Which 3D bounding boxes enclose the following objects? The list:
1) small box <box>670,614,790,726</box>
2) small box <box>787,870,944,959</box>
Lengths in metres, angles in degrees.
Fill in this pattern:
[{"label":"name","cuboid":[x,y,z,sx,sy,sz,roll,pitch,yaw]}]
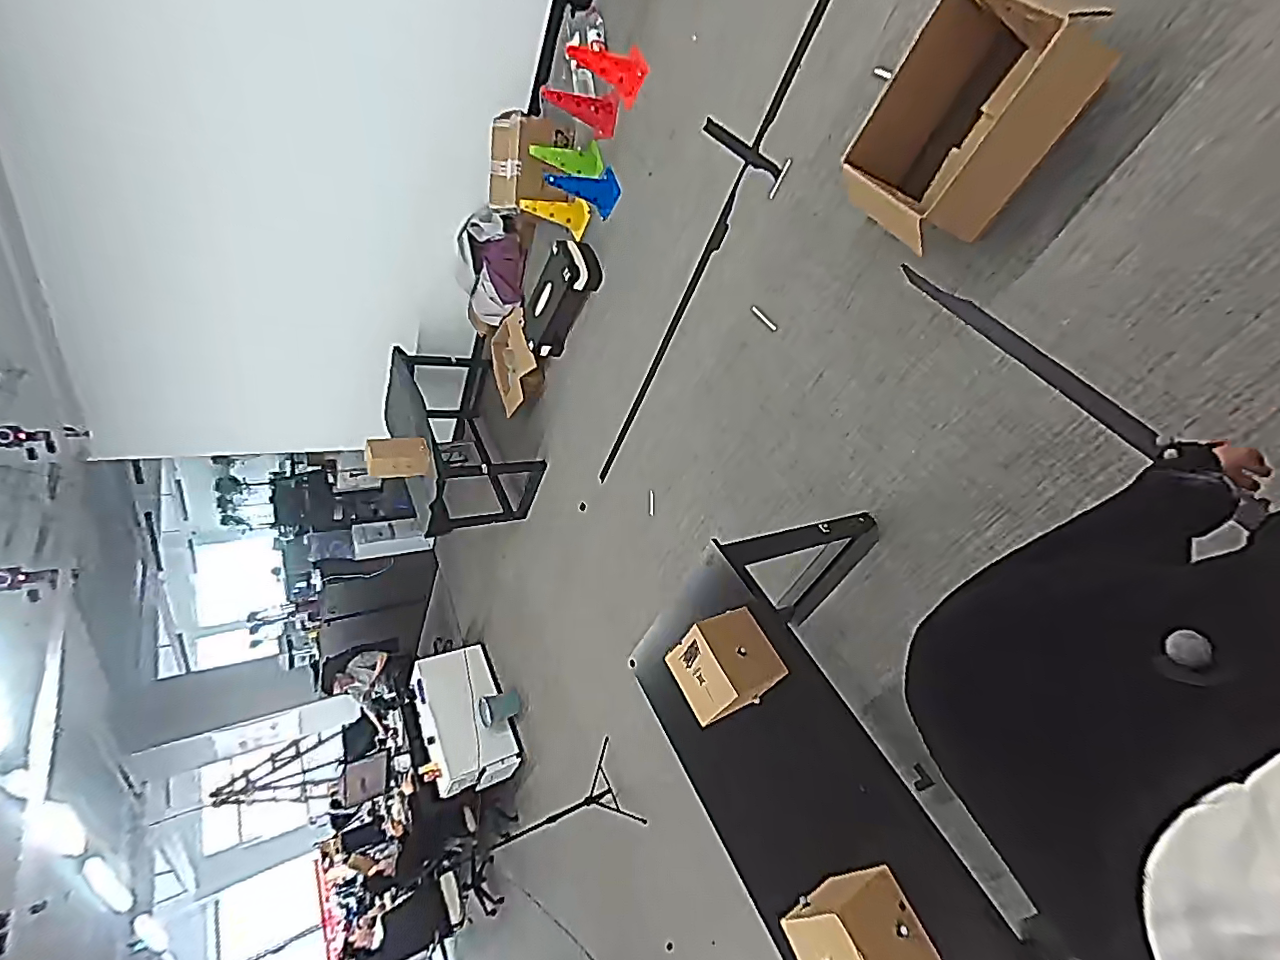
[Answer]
[{"label":"small box","cuboid":[0.204,0.427,1.242,0.179,0.176,0.168,57,137,30]},{"label":"small box","cuboid":[0.420,0.869,1.012,0.168,0.176,0.179,61,138,28]}]
